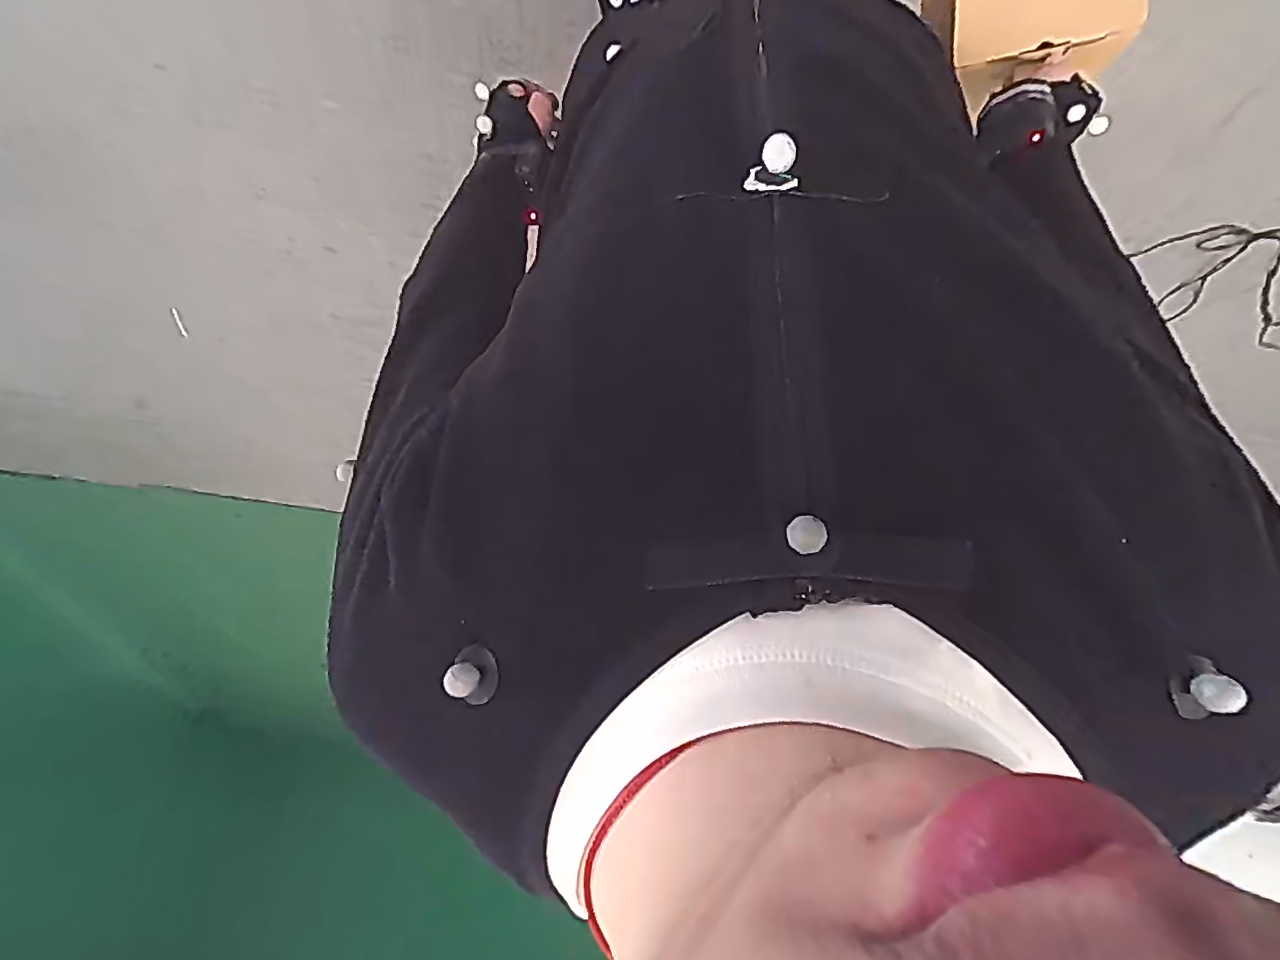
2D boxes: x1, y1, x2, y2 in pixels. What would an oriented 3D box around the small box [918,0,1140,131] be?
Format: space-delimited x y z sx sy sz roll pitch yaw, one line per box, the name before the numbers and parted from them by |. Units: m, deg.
small box | 0.420 -0.524 0.607 0.168 0.176 0.179 0 97 16
